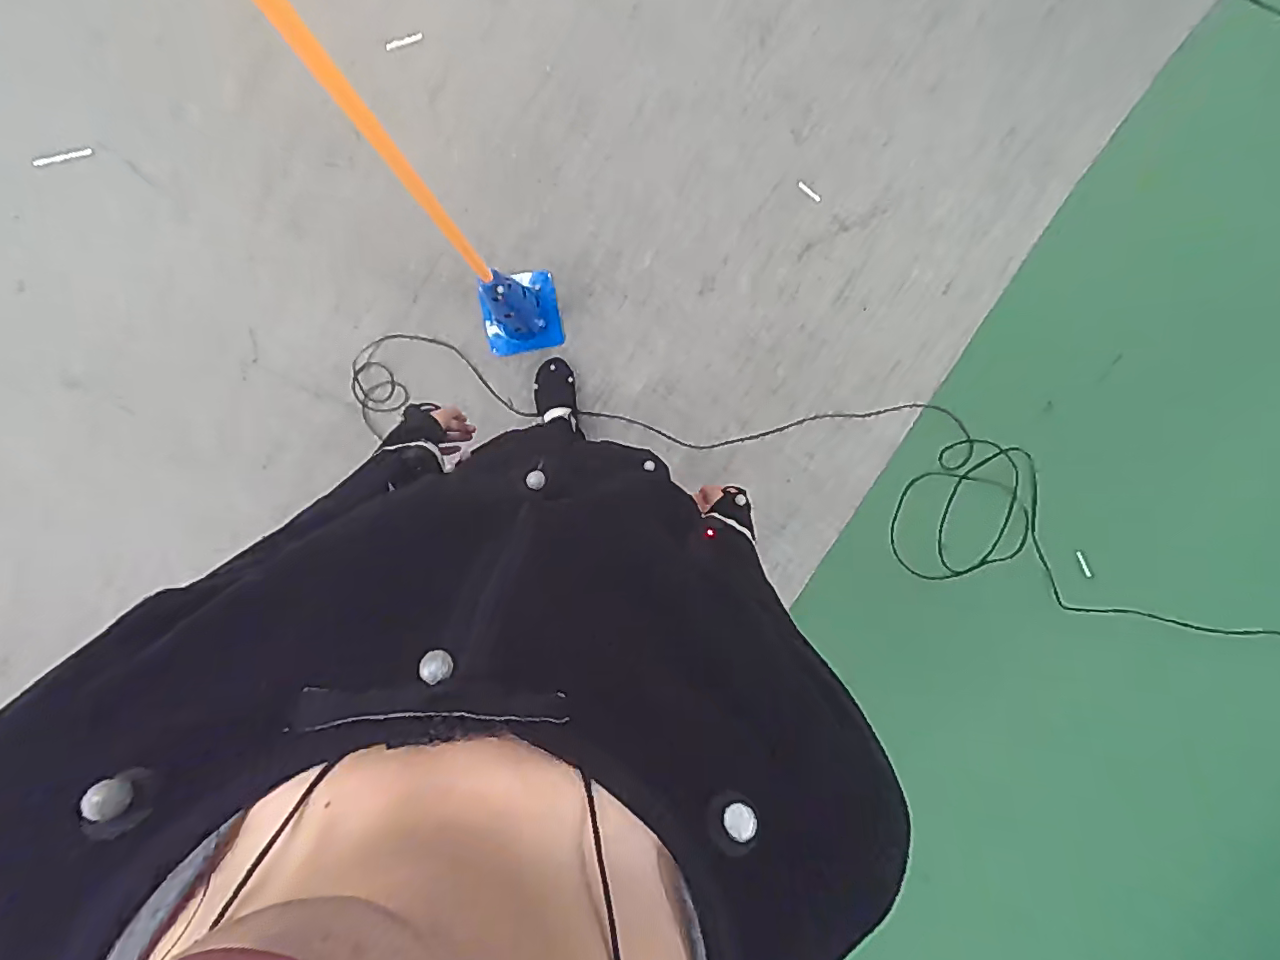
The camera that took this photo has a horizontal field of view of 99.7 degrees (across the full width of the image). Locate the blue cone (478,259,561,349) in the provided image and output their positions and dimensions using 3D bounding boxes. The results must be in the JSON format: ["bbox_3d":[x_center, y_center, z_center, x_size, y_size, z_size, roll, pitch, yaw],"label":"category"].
[{"bbox_3d":[-0.310,-0.431,1.244,0.192,0.380,0.193,-12,95,-1],"label":"blue cone"}]
